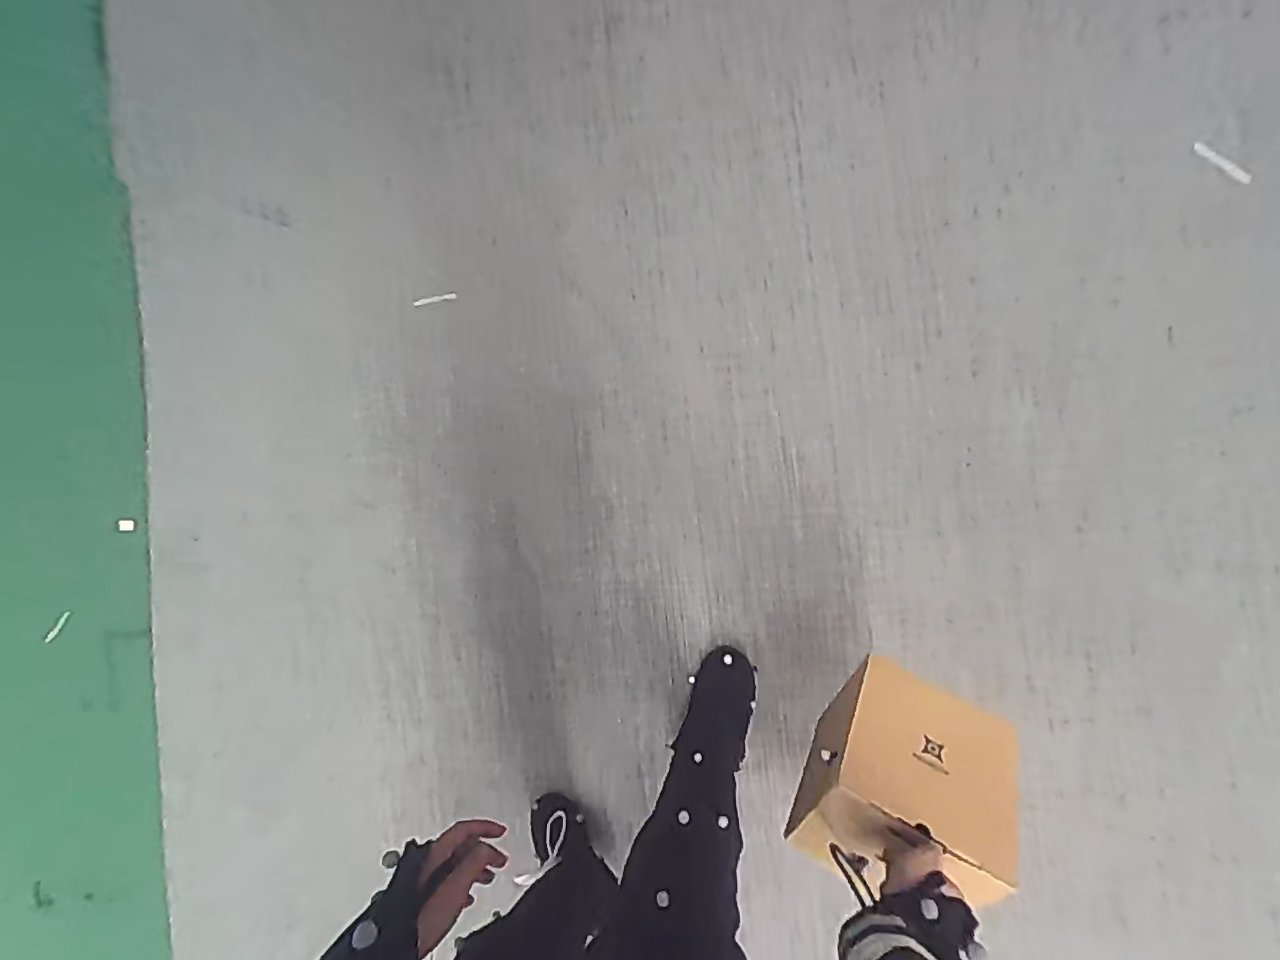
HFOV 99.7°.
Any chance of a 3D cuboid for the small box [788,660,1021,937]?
[{"bbox_3d":[0.282,0.346,0.596,0.168,0.179,0.176,26,131,16],"label":"small box"}]
